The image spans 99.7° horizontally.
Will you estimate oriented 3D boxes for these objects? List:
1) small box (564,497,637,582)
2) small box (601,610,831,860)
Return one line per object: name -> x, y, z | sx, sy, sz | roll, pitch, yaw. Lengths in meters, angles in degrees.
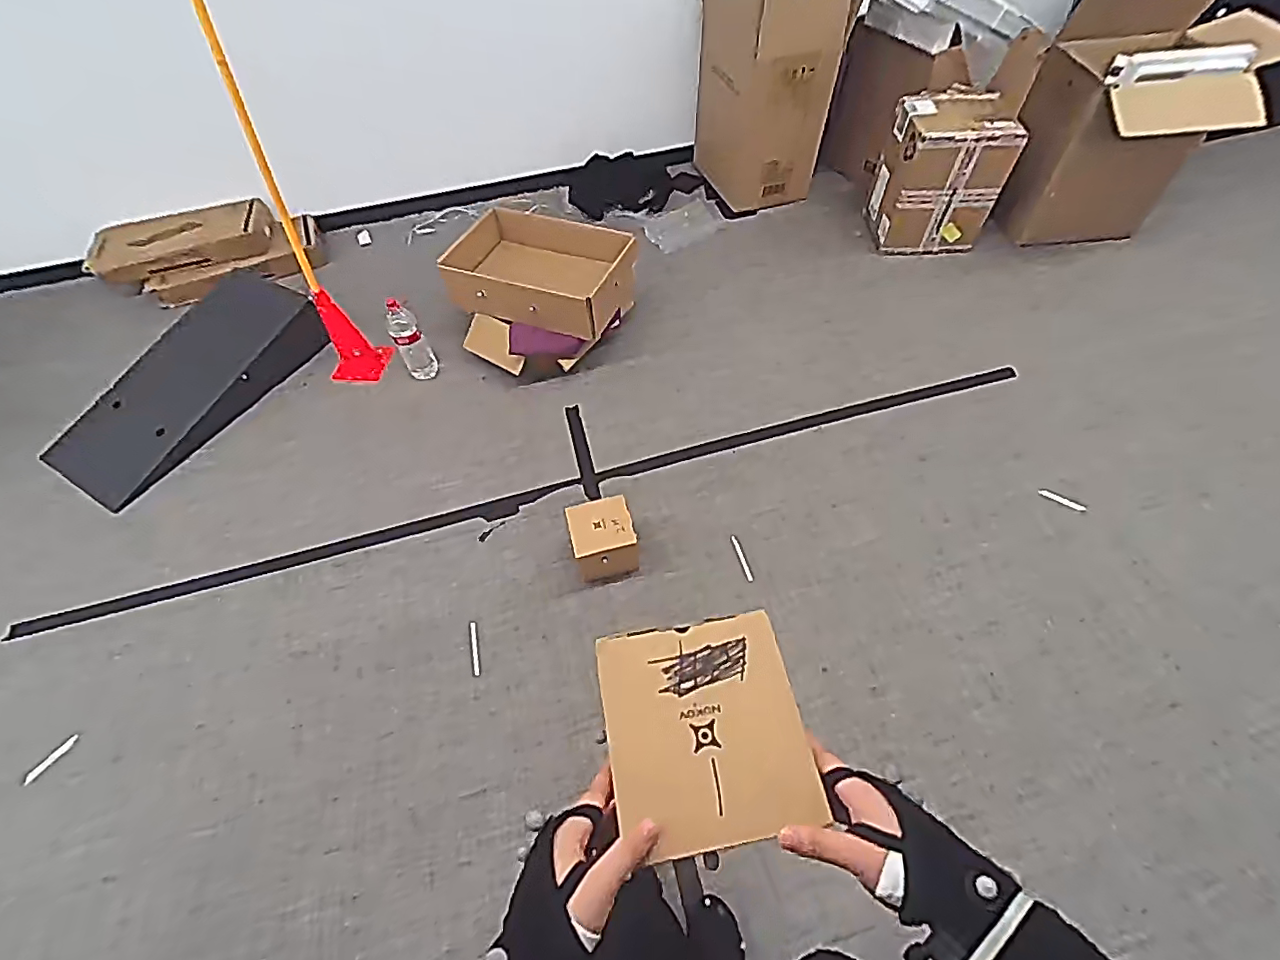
small box -> -0.112, 0.178, 1.572 | 0.179, 0.176, 0.168 | -13, 57, -7
small box -> 0.055, 0.248, 0.523 | 0.168, 0.176, 0.179 | -8, 57, -5
